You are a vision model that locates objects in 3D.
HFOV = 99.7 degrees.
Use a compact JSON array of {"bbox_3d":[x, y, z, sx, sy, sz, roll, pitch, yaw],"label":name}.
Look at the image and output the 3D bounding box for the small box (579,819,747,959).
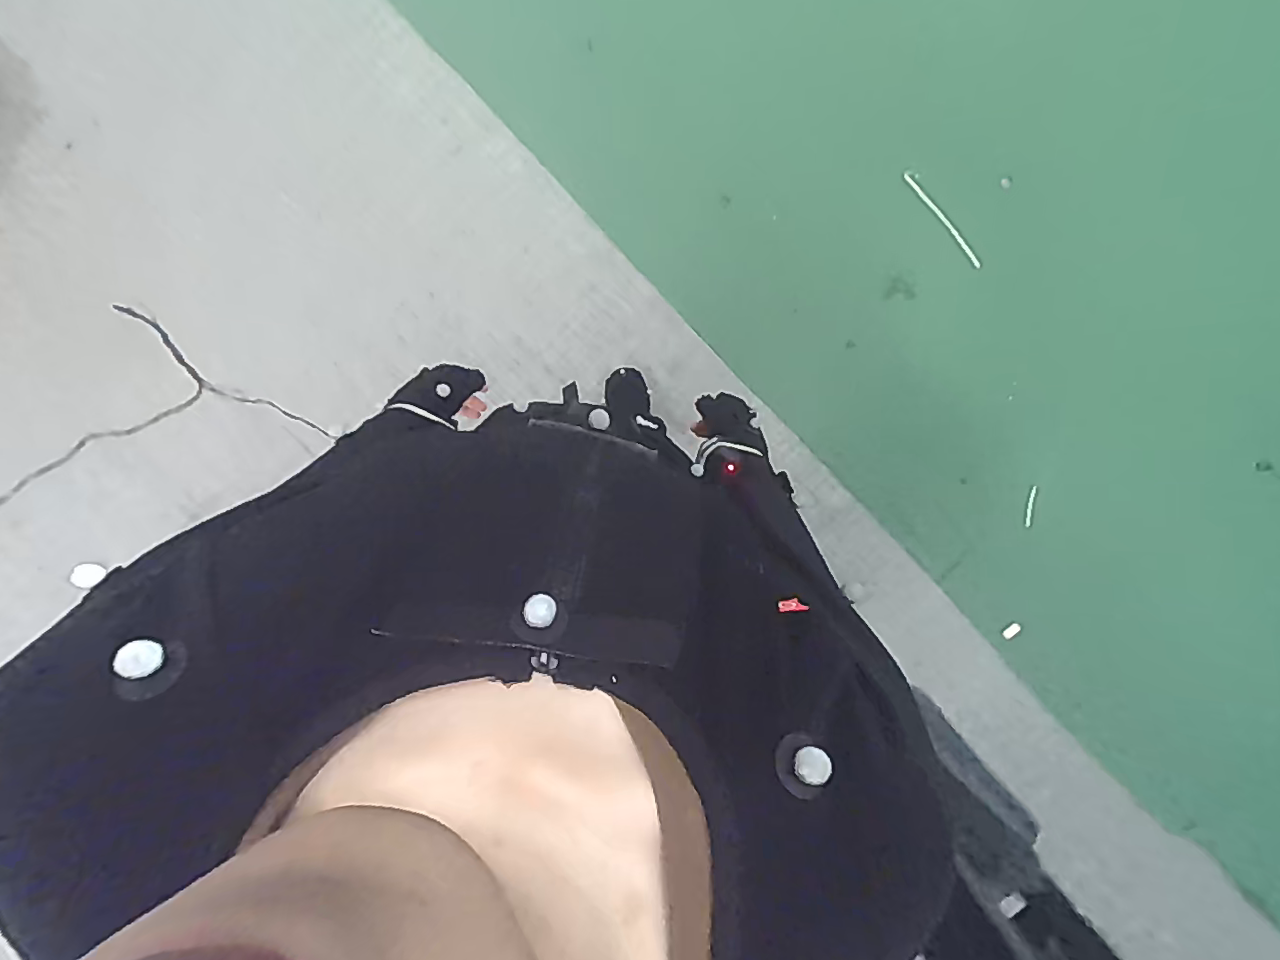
[{"bbox_3d":[0.034,0.640,0.773,0.179,0.176,0.168,44,95,-7],"label":"small box"}]
